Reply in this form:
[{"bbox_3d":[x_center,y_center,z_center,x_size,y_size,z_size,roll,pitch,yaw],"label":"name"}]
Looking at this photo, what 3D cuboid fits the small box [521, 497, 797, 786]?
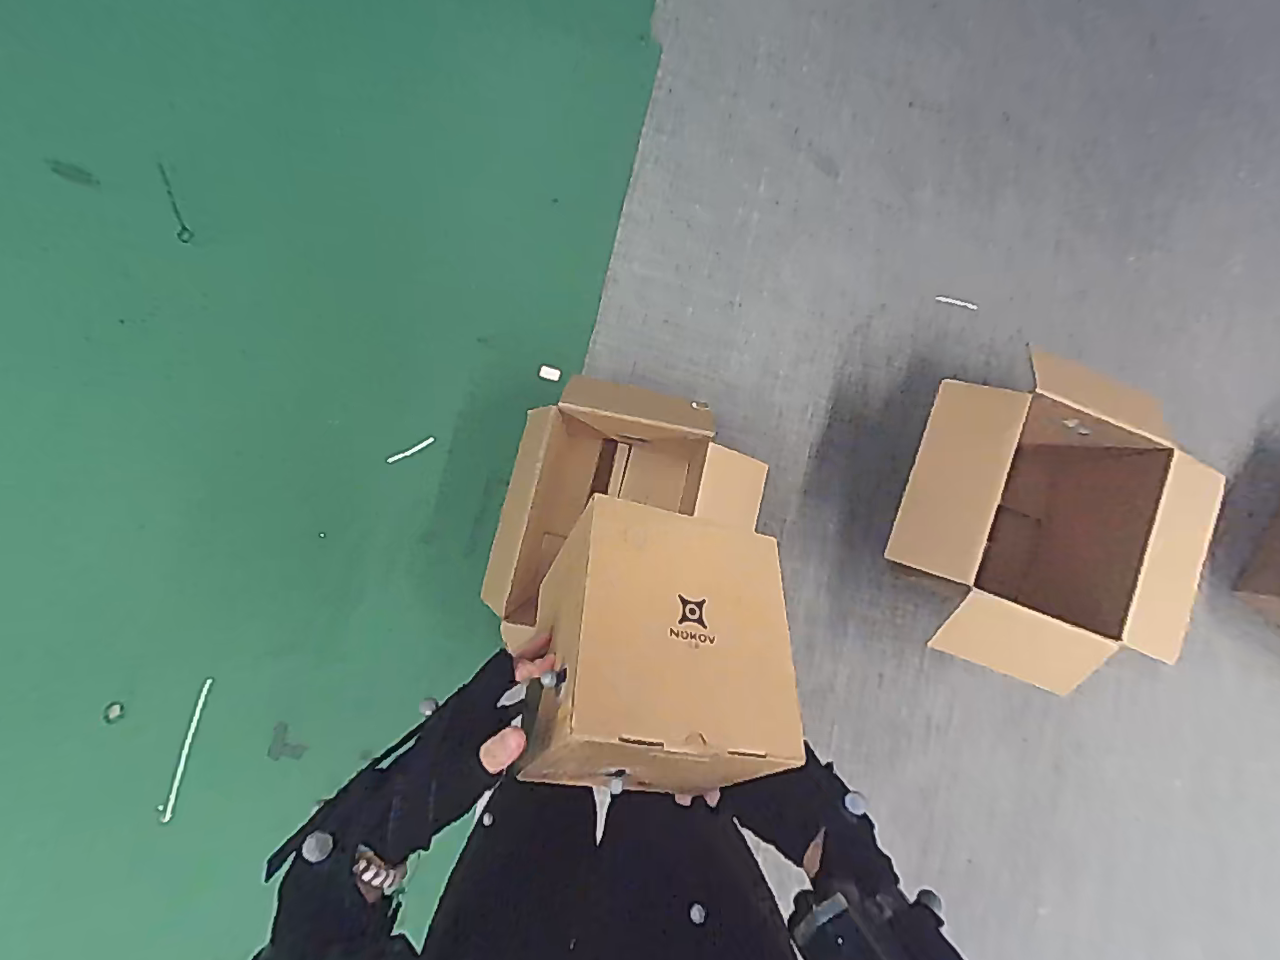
[{"bbox_3d":[0.005,0.145,0.458,0.168,0.176,0.179,15,53,-17],"label":"small box"}]
